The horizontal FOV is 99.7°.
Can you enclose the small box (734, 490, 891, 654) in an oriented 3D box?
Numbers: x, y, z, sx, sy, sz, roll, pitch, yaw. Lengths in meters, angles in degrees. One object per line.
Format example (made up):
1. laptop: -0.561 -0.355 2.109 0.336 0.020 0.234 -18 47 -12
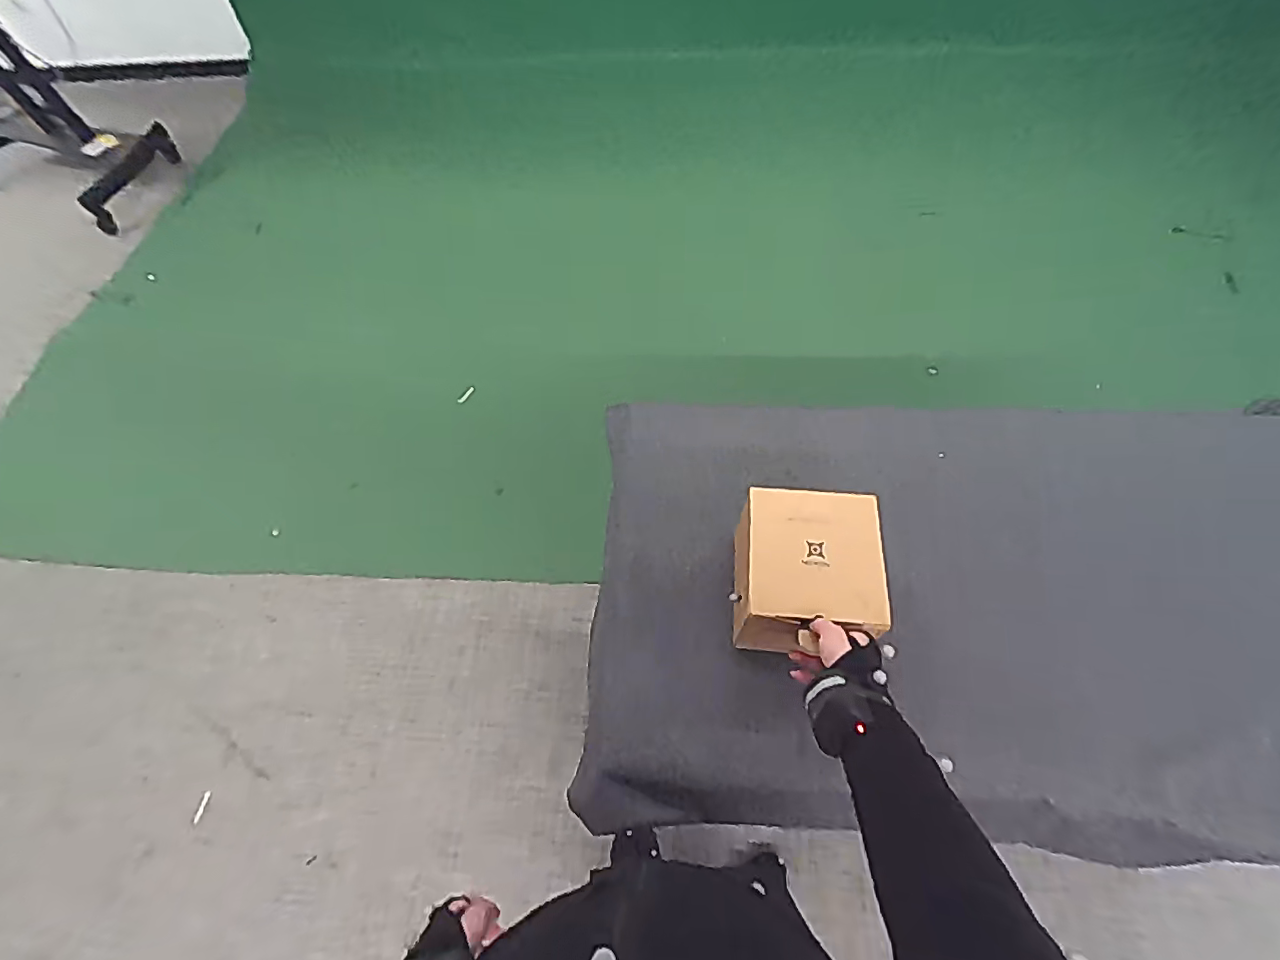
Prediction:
1. small box: 0.224 0.133 0.746 0.168 0.176 0.179 4 60 3
